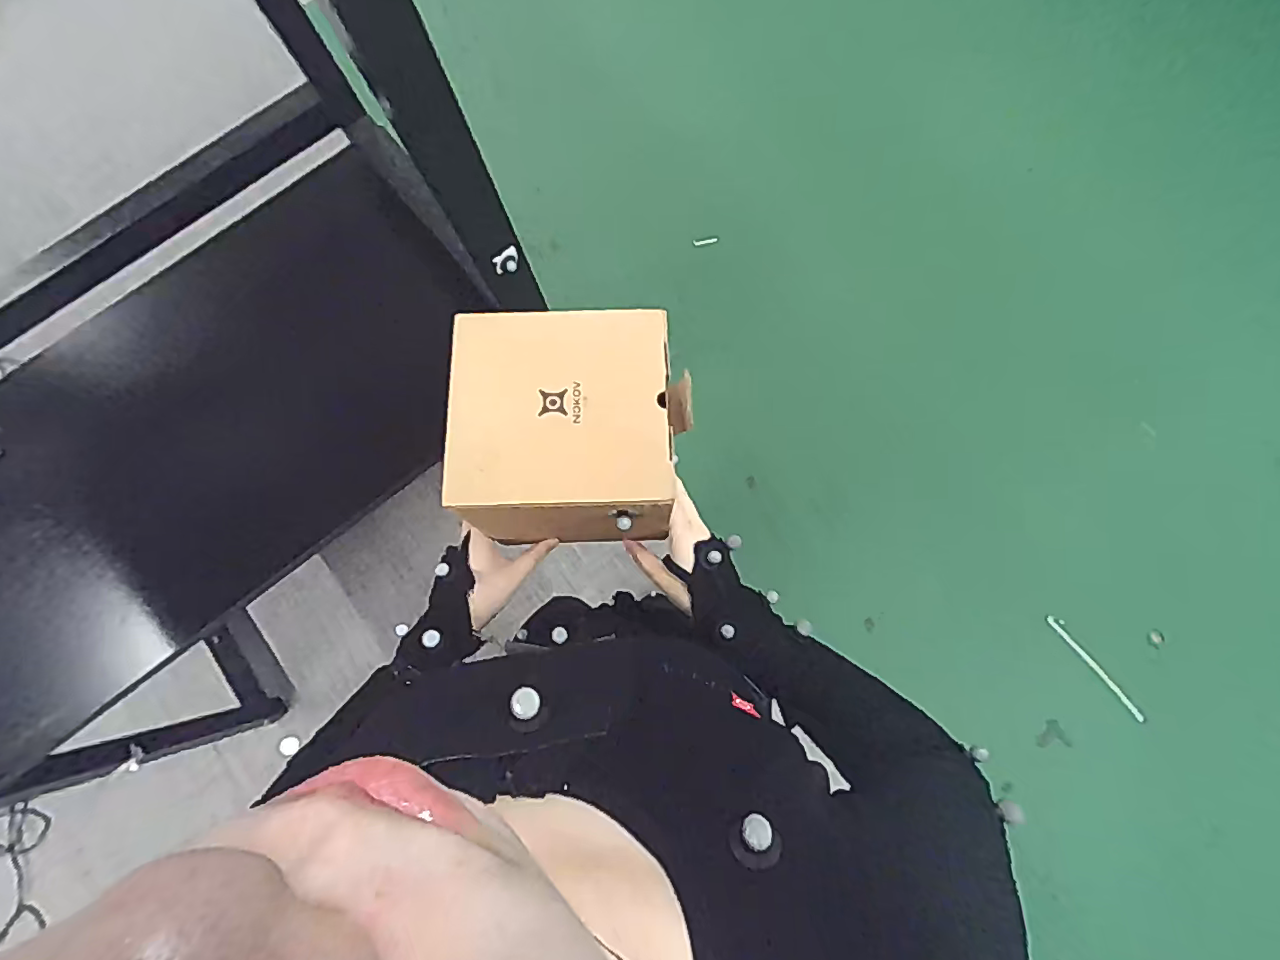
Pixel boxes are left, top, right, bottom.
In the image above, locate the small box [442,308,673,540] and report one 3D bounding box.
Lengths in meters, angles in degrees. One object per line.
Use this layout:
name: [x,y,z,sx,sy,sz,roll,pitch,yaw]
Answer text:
small box: [-0.062,-0.039,0.501,0.179,0.176,0.168,-1,74,-1]
